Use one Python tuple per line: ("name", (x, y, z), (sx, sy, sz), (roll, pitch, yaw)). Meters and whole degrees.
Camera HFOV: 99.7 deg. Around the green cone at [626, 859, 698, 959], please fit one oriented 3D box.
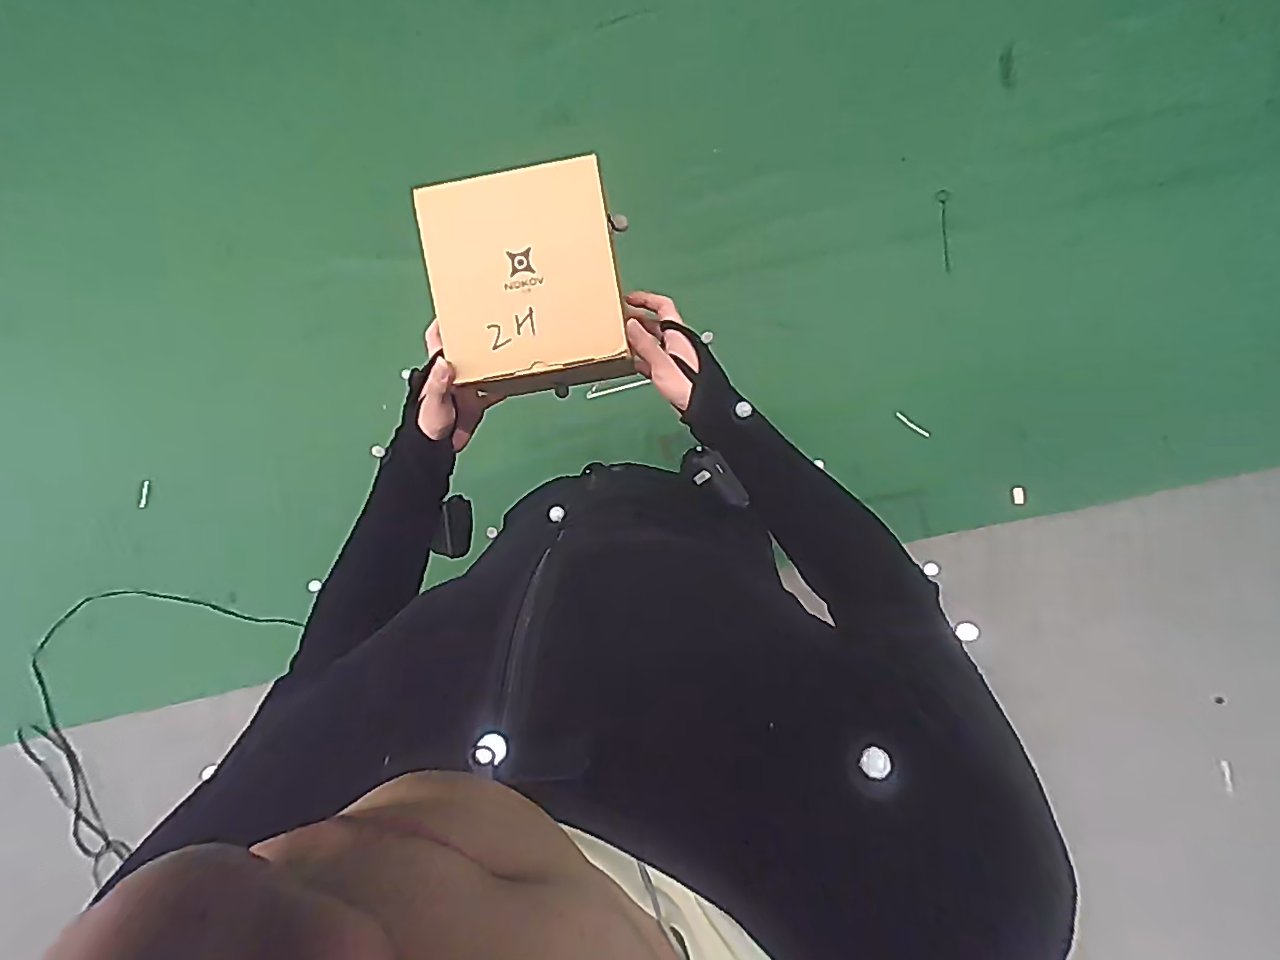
("green cone", (0.060, 1.316, 1.542), (0.202, 0.368, 0.200), (-13, 92, 4))
